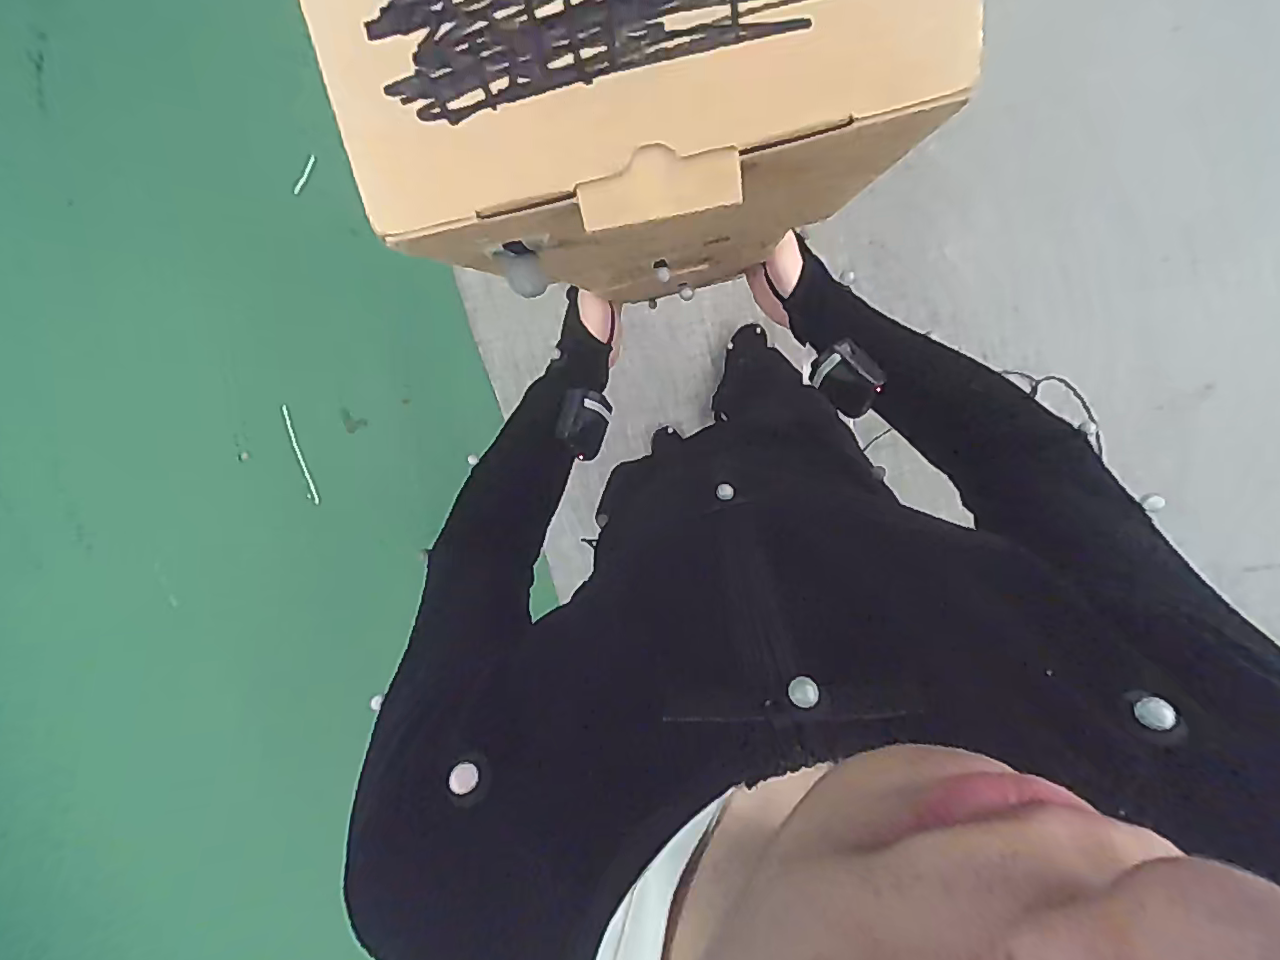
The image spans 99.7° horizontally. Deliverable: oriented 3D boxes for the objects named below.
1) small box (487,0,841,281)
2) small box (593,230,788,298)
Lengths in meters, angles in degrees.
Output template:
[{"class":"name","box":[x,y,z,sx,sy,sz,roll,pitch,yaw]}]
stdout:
[{"class":"small box","box":[0.015,-0.242,0.351,0.168,0.176,0.179,-11,105,8]},{"class":"small box","box":[0.032,-0.282,0.507,0.168,0.176,0.179,-11,103,9]}]
